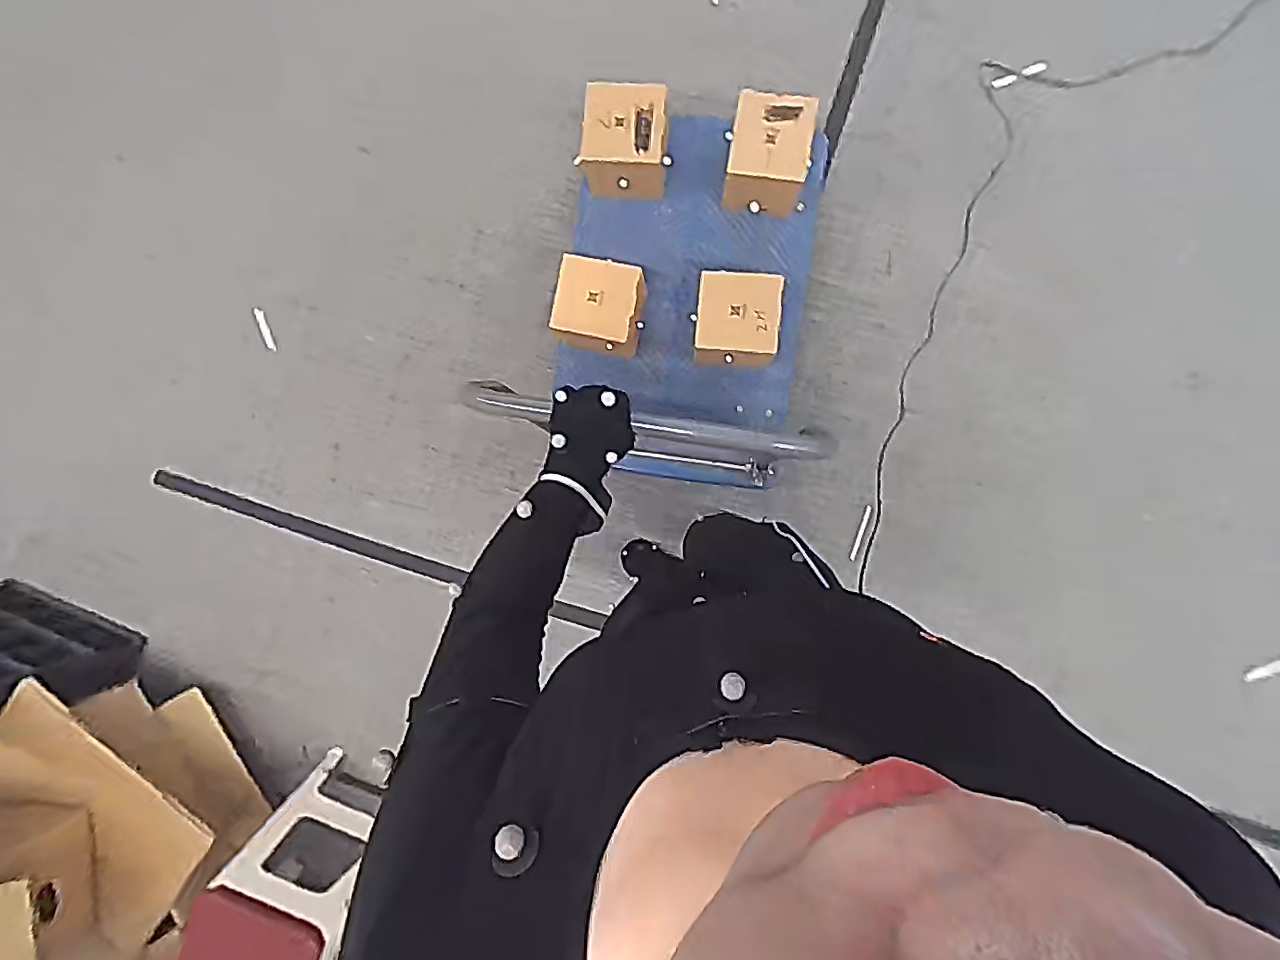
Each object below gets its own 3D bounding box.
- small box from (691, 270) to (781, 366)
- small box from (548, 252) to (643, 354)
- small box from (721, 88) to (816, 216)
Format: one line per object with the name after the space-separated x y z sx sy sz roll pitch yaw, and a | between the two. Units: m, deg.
0.210 -0.359 1.221 0.179 0.176 0.168 6 92 5 | small box
-0.096 -0.398 1.246 0.179 0.176 0.168 11 92 3 | small box
0.278 -0.724 1.207 0.168 0.176 0.179 10 93 4 | small box
